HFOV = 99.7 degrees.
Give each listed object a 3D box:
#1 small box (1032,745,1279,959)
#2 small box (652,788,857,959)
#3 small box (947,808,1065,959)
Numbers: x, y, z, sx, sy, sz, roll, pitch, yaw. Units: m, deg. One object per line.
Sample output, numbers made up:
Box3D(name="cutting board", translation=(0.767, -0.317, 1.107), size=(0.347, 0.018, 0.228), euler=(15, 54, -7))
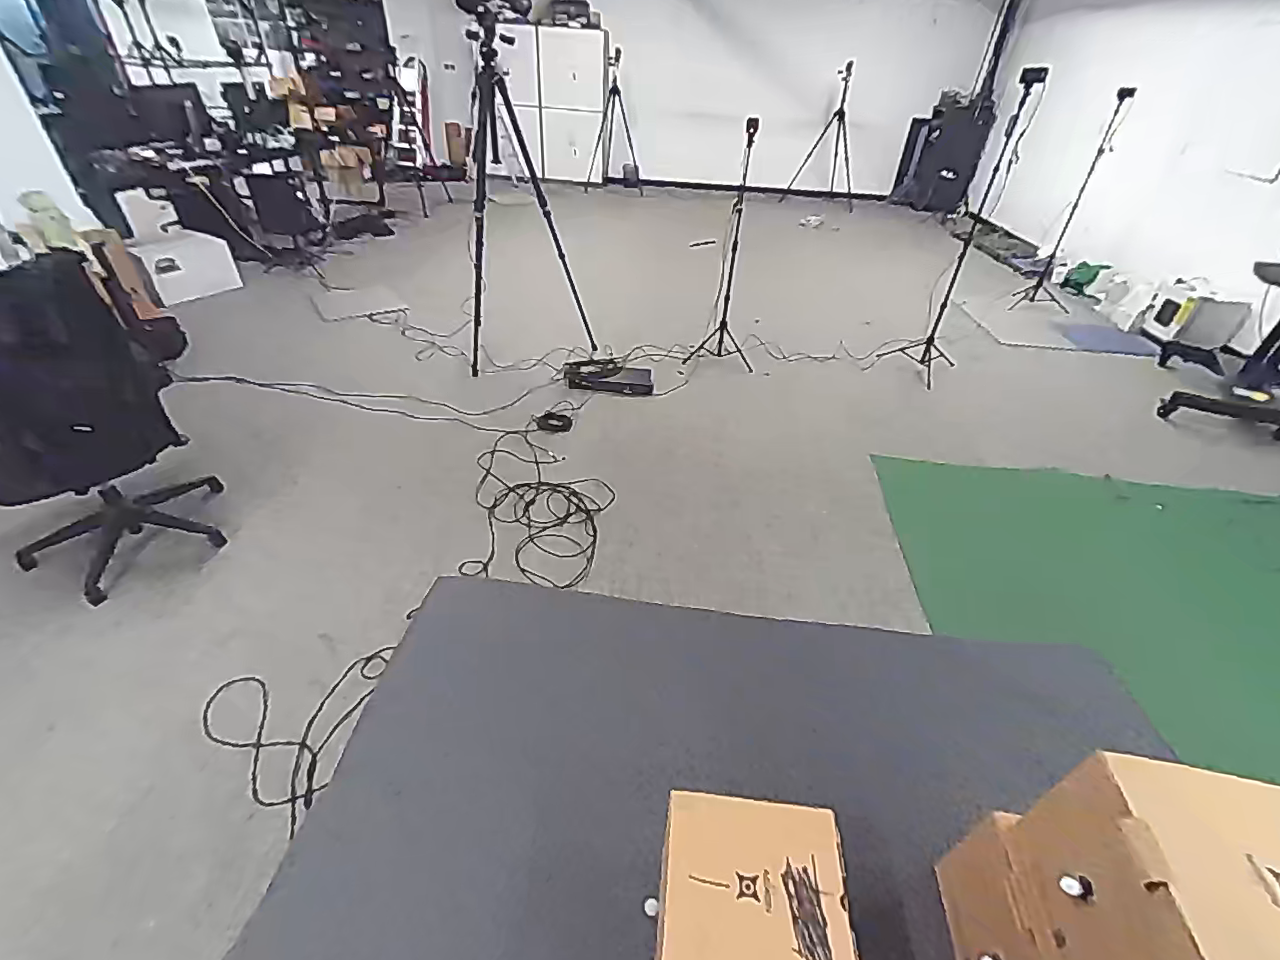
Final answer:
Box3D(name="small box", translation=(0.462, 0.353, 0.441), size=(0.179, 0.176, 0.168), euler=(9, 38, 8))
Box3D(name="small box", translation=(0.105, 0.450, 0.555), size=(0.179, 0.176, 0.168), euler=(5, 36, 5))
Box3D(name="small box", translation=(0.444, 0.473, 0.554), size=(0.179, 0.176, 0.168), euler=(8, 38, 5))
